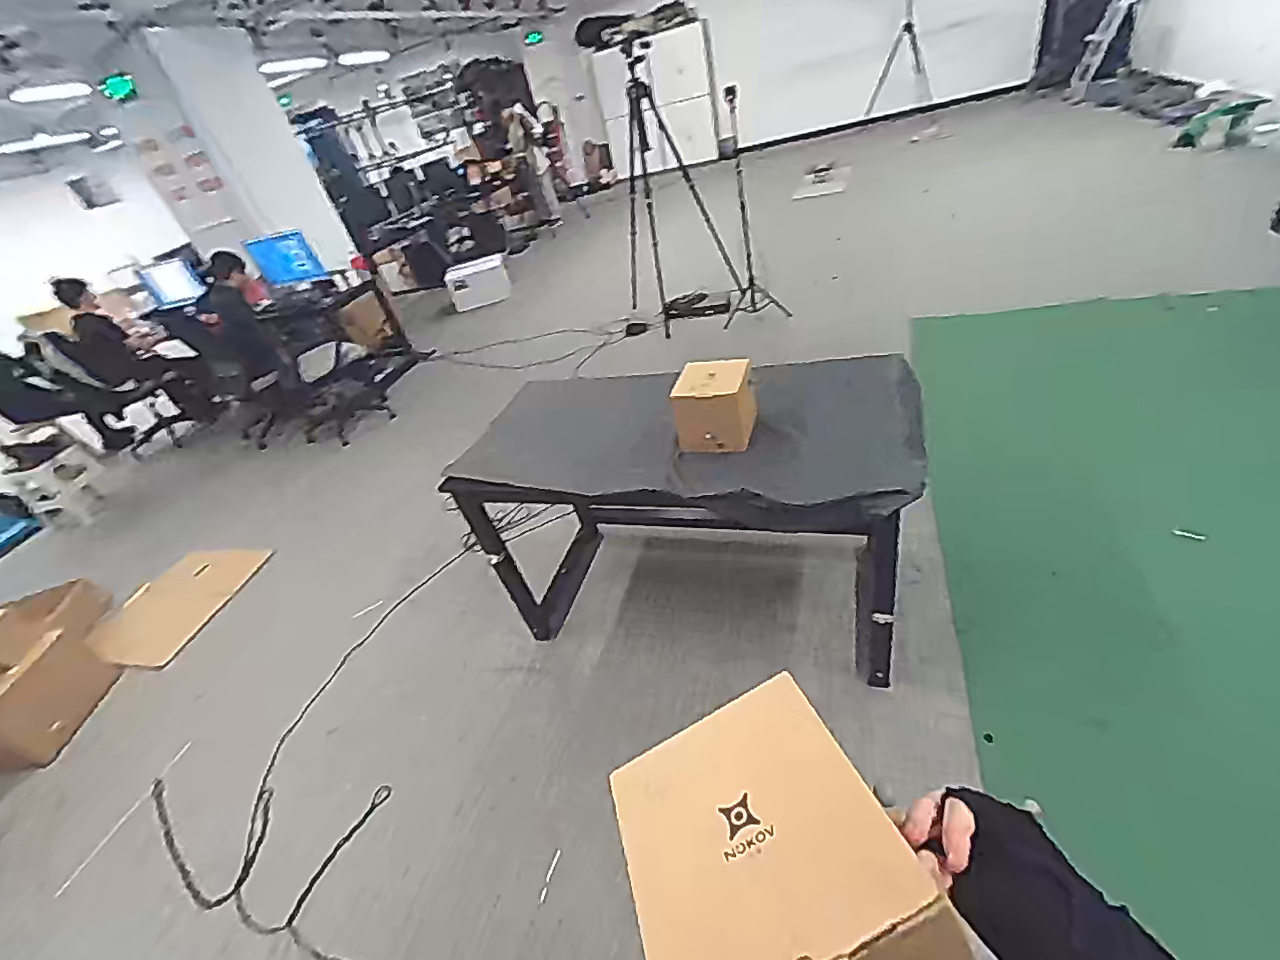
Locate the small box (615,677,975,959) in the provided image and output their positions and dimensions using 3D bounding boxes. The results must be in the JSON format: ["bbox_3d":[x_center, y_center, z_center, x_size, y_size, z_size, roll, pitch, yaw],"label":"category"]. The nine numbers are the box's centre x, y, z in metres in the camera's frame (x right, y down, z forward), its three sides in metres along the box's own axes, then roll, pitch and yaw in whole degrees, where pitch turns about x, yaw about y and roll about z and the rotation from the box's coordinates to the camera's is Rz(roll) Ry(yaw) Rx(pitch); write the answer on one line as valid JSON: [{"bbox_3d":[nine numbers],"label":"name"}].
[{"bbox_3d":[0.103,0.288,0.382,0.168,0.176,0.179,-29,26,-3],"label":"small box"}]

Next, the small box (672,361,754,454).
[{"bbox_3d":[0.193,-0.185,1.375,0.168,0.176,0.179,1,40,23],"label":"small box"}]
